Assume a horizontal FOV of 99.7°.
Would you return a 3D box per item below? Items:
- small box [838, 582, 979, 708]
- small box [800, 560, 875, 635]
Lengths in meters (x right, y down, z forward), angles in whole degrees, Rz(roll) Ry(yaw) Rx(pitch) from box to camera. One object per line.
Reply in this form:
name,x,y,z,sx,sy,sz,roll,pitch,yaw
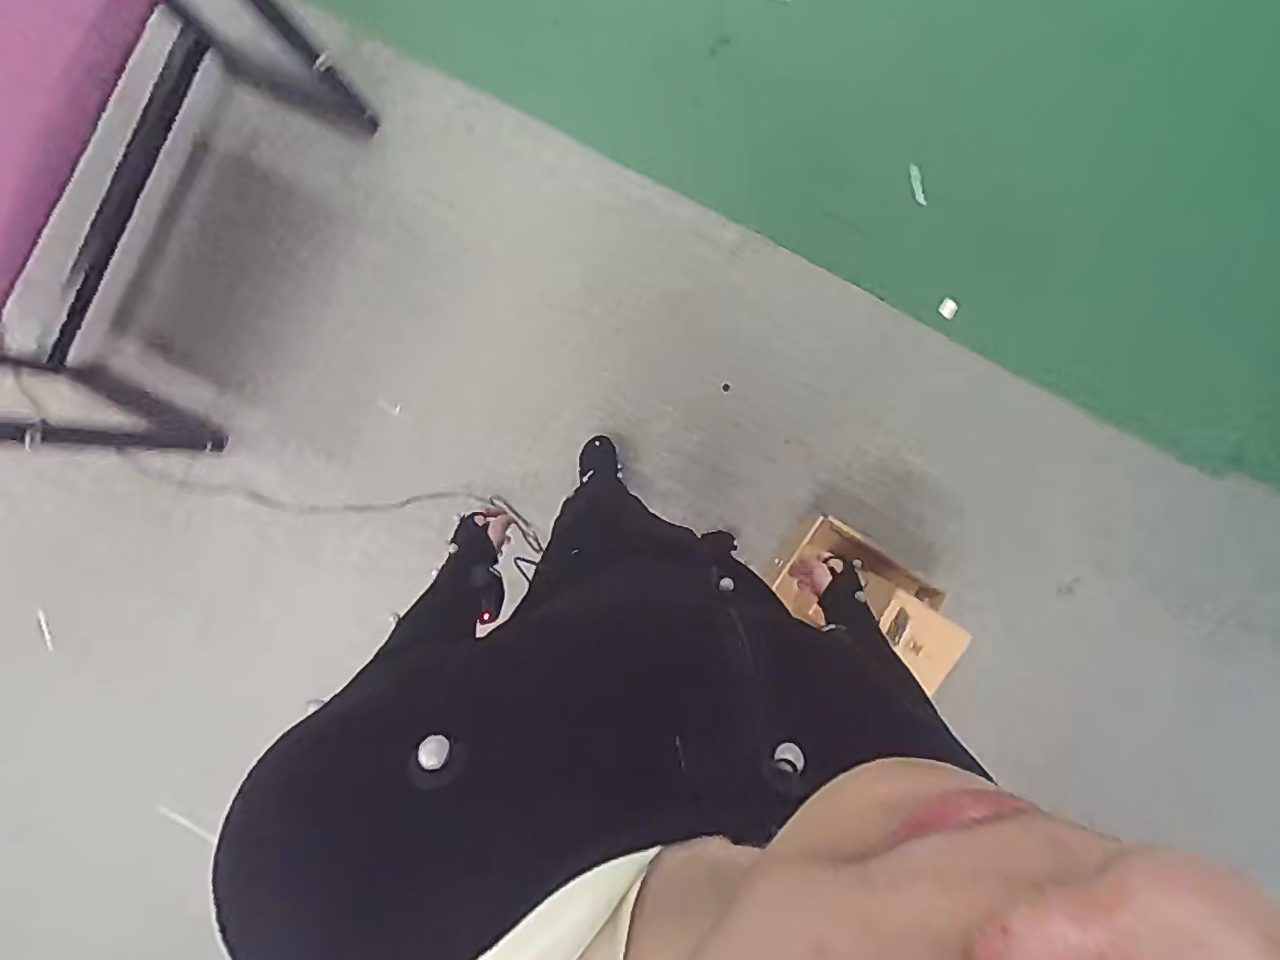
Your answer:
small box,0.550,0.333,1.138,0.179,0.176,0.168,34,94,1
small box,0.566,0.335,1.466,0.179,0.176,0.168,34,93,2
